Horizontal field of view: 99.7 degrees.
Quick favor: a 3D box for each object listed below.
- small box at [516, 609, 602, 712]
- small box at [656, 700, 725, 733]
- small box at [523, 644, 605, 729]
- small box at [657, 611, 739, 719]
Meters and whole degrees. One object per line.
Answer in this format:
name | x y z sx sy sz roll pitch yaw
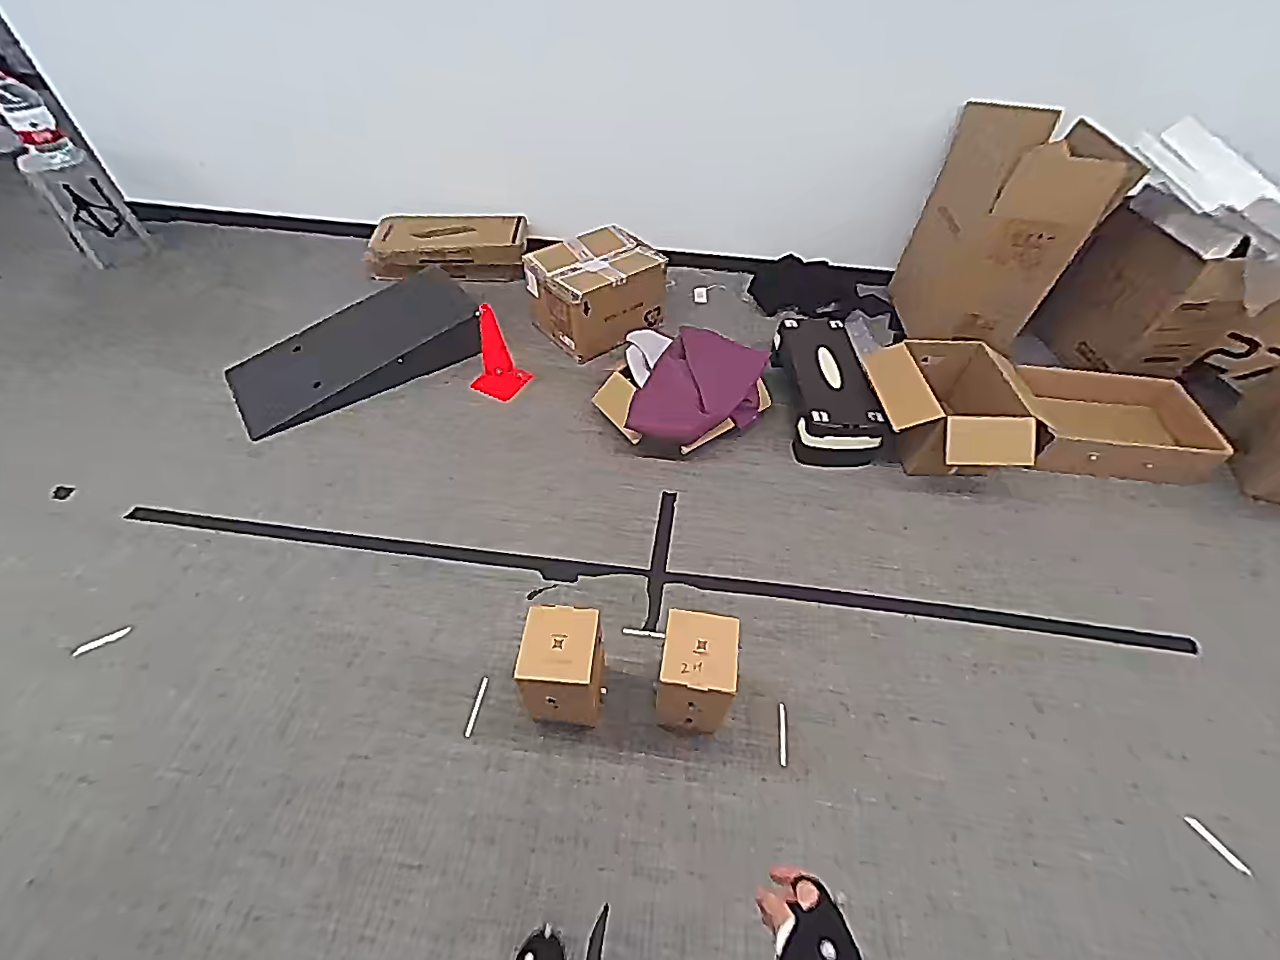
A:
small box | -0.180 0.422 1.264 0.168 0.176 0.179 2 51 3
small box | 0.133 0.536 1.393 0.168 0.176 0.179 7 51 4
small box | -0.187 0.525 1.390 0.179 0.176 0.168 6 50 2
small box | 0.133 0.433 1.262 0.168 0.176 0.179 8 50 5
